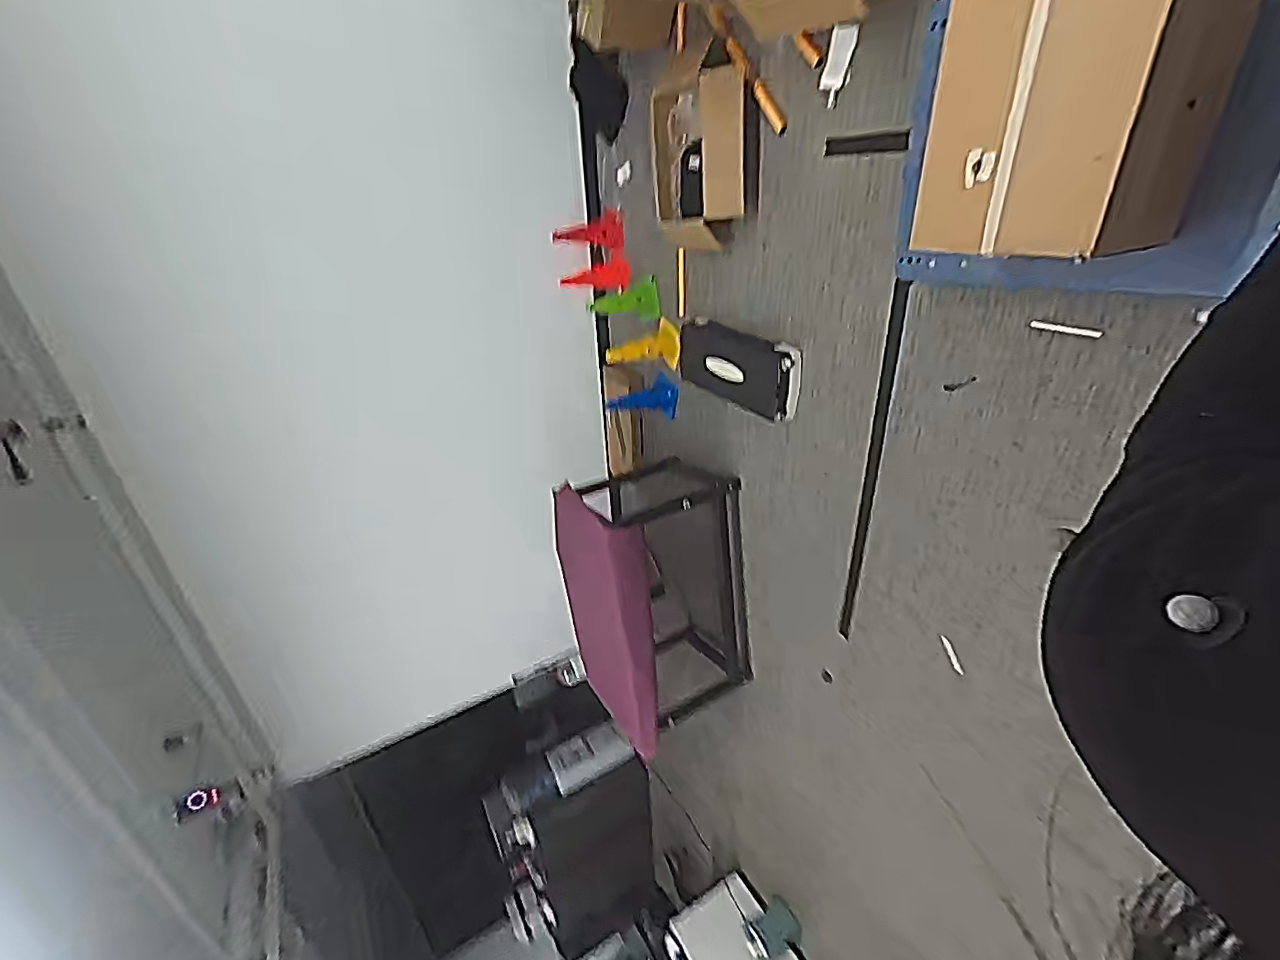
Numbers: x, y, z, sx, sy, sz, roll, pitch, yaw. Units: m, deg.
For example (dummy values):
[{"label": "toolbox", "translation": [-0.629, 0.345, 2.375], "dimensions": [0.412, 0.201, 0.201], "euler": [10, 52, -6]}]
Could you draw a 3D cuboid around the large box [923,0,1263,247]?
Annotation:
[{"label": "large box", "translation": [0.742, -0.629, 0.913], "dimensions": [0.320, 0.320, 0.408], "euler": [36, 137, 51]}]
